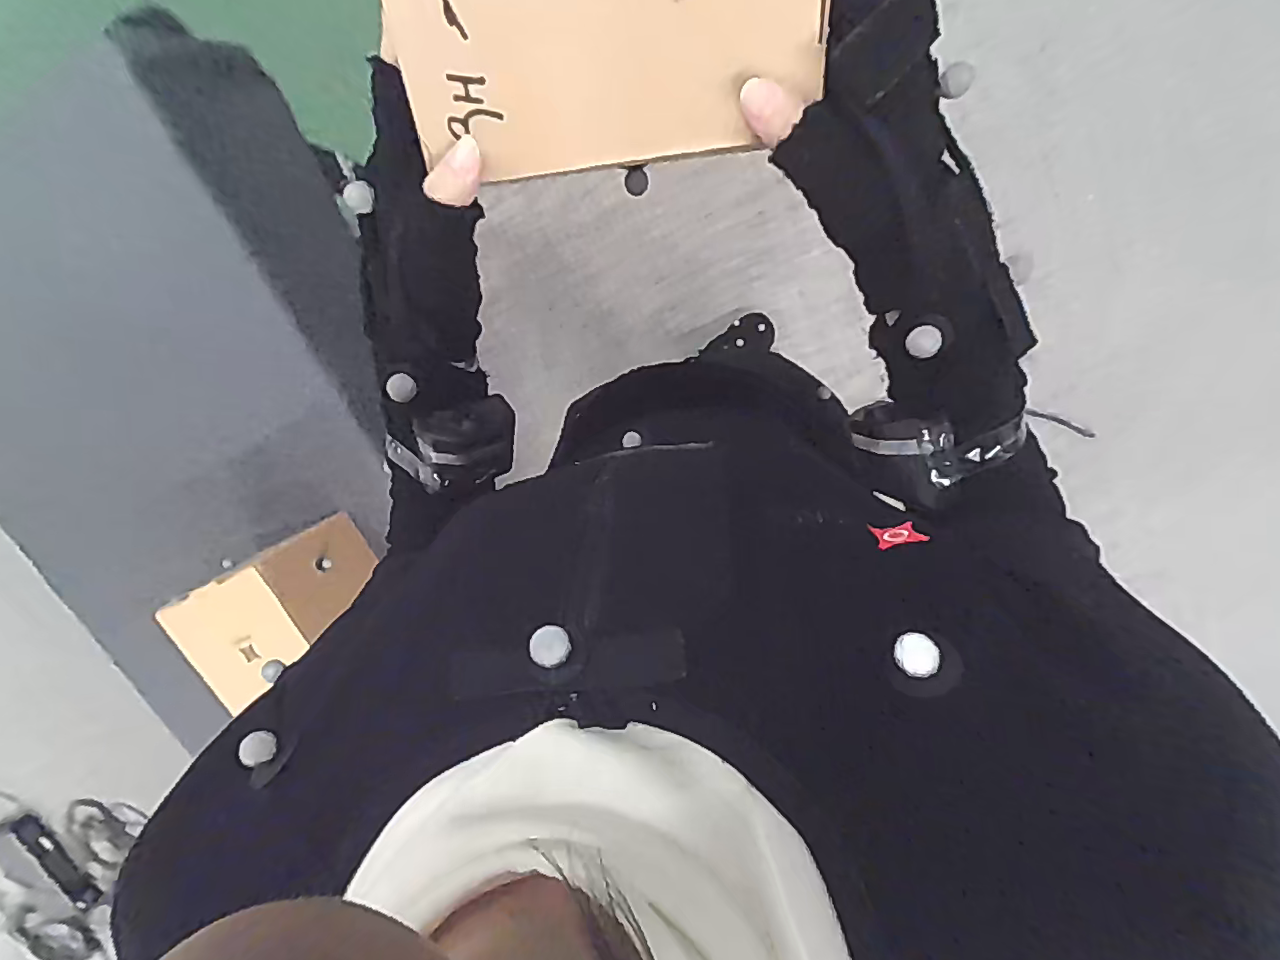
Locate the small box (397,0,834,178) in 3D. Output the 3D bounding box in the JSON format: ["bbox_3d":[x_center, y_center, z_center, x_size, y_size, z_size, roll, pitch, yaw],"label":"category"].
[{"bbox_3d":[-0.012,-0.254,0.270,0.179,0.176,0.168,-4,119,4],"label":"small box"}]

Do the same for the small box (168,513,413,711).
[{"bbox_3d":[-0.446,0.162,0.720,0.168,0.176,0.179,-24,105,15],"label":"small box"}]
